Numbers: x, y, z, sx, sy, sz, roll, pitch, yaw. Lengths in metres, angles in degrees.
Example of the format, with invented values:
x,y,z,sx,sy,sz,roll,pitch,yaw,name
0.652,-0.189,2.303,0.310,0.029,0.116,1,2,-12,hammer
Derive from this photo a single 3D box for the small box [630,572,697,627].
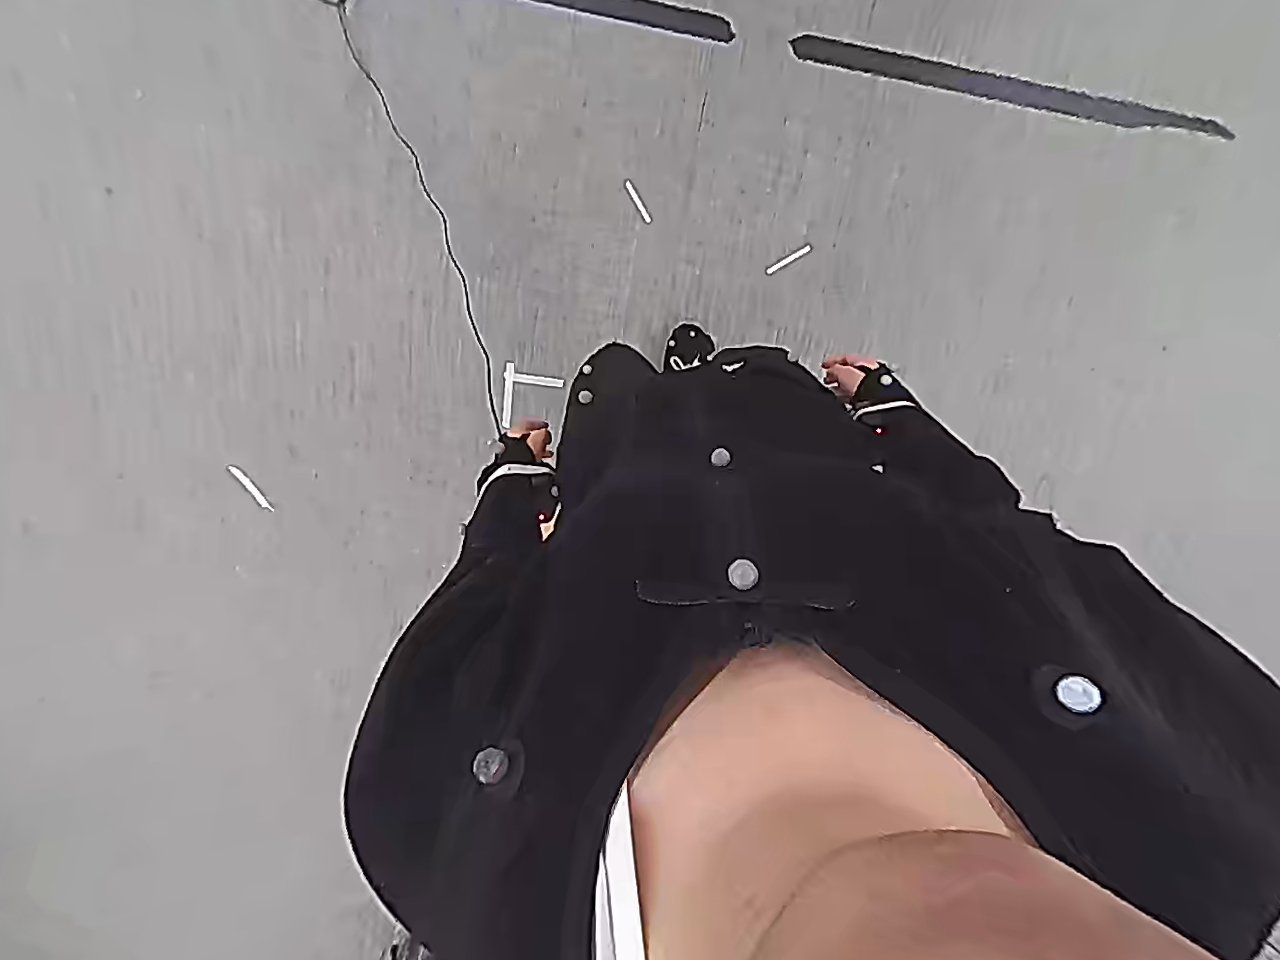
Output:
x,y,z,sx,sy,sz,roll,pitch,yaw,name
0.060,0.371,1.503,0.168,0.176,0.179,6,105,0,small box
